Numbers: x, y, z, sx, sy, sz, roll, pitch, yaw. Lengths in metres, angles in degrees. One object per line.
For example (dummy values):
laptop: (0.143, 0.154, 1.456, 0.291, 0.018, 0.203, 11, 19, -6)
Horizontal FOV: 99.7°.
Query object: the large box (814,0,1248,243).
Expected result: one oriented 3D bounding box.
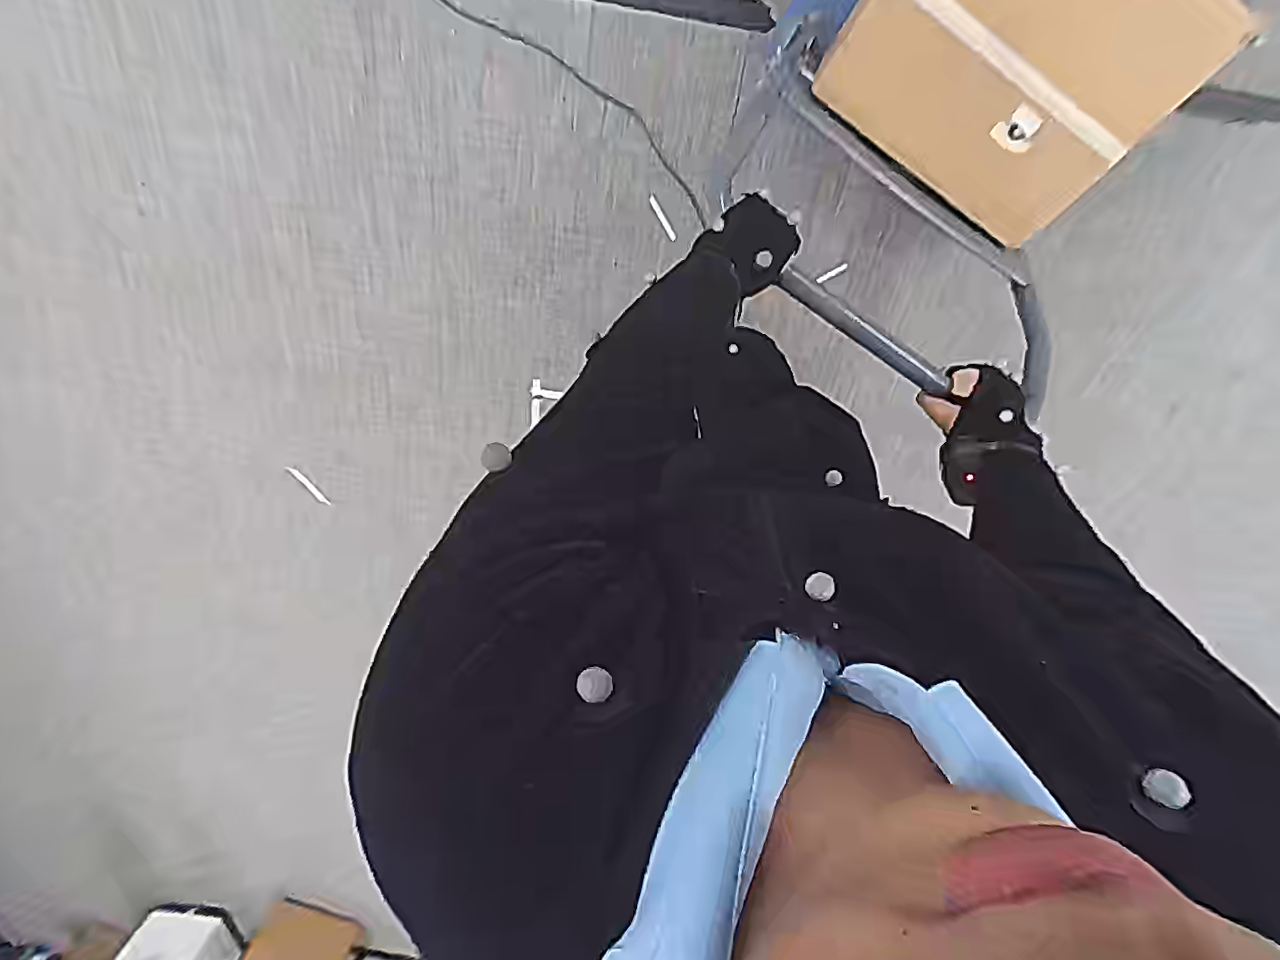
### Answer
large box: (0.527, -0.653, 0.820, 0.408, 0.320, 0.320, 31, 137, -10)
